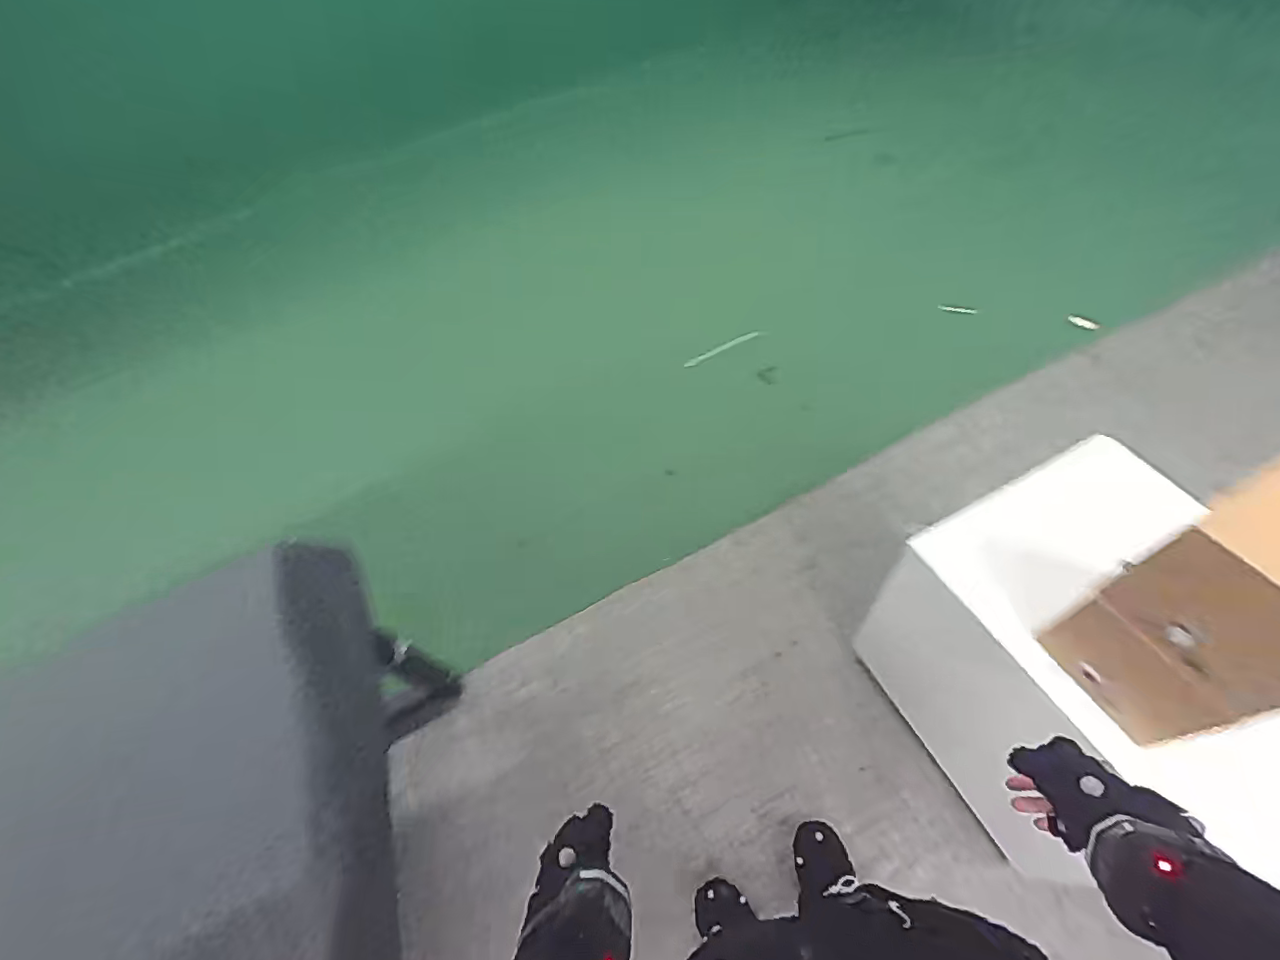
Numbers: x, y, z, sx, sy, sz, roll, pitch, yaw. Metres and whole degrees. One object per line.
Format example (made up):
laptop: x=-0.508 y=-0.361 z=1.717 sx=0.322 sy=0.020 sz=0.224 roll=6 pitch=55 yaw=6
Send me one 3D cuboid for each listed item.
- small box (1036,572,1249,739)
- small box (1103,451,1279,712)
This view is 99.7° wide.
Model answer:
small box: x=0.632 y=0.181 z=0.648 sx=0.179 sy=0.176 sz=0.168 roll=-29 pitch=56 yaw=-7
small box: x=0.608 y=0.090 z=0.514 sx=0.179 sy=0.176 sz=0.168 roll=-29 pitch=56 yaw=-10
